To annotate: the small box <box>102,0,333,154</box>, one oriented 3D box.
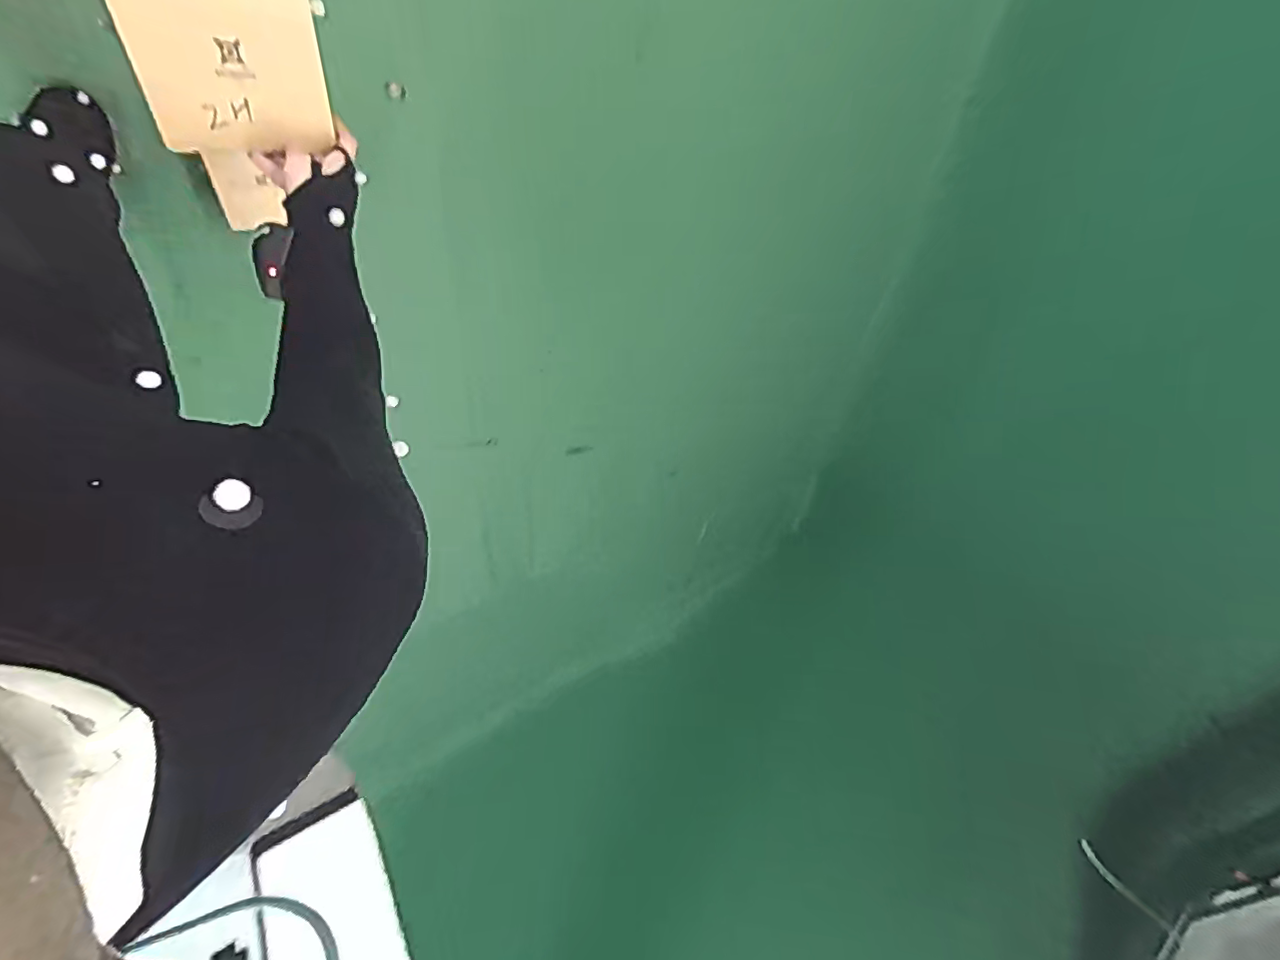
[{"bbox_3d":[-0.448,-0.477,0.571,0.168,0.176,0.179,-17,150,-28],"label":"small box"}]
